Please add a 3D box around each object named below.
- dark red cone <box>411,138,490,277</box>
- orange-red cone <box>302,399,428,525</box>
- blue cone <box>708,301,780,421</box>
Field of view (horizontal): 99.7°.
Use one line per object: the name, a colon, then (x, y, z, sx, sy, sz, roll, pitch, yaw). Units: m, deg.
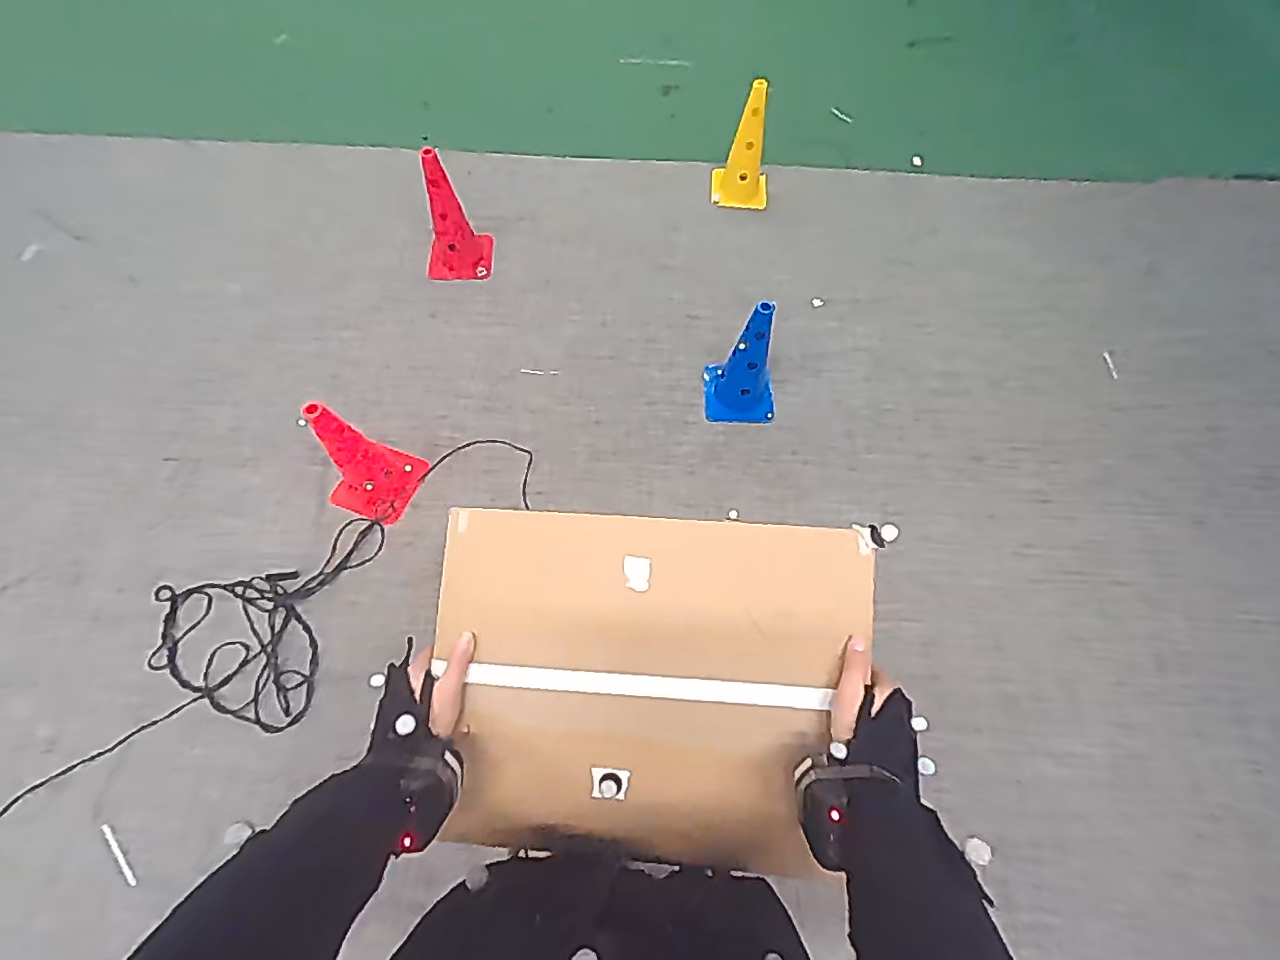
dark red cone: (-0.596, -0.821, 1.631, 0.202, 0.394, 0.201, -5, 61, -3)
orange-red cone: (-0.685, -0.070, 1.275, 0.199, 0.360, 0.198, 20, 63, 10)
blue cone: (0.297, -0.327, 1.438, 0.192, 0.380, 0.193, 3, 64, 0)
